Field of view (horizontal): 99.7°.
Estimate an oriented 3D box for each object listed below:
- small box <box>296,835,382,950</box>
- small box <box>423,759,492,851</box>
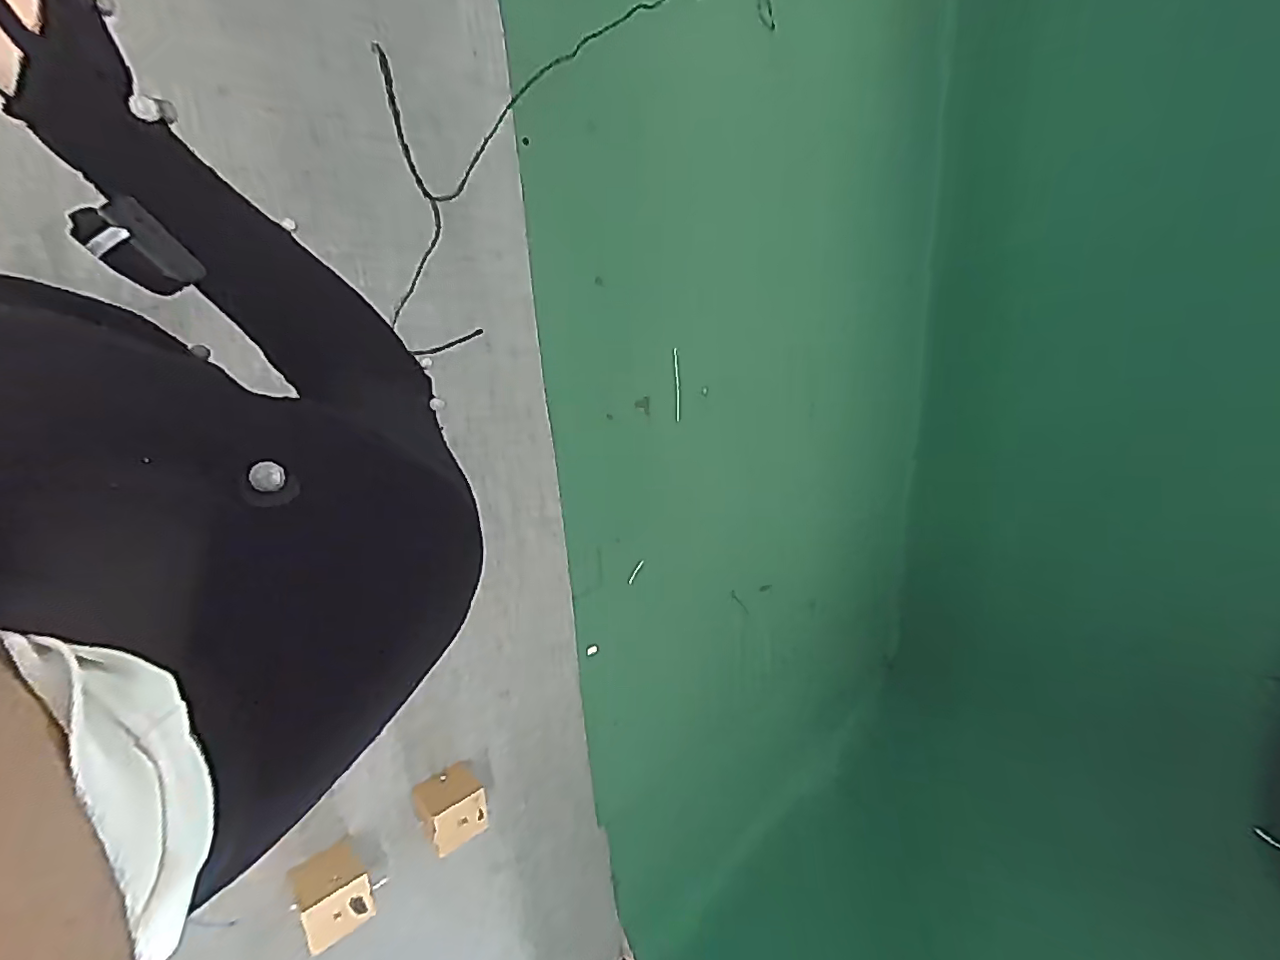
[{"bbox_3d":[-0.901,1.222,1.619,0.179,0.176,0.168,-16,111,-38],"label":"small box"},{"bbox_3d":[-0.627,1.099,1.842,0.179,0.176,0.168,-14,109,-39],"label":"small box"}]
